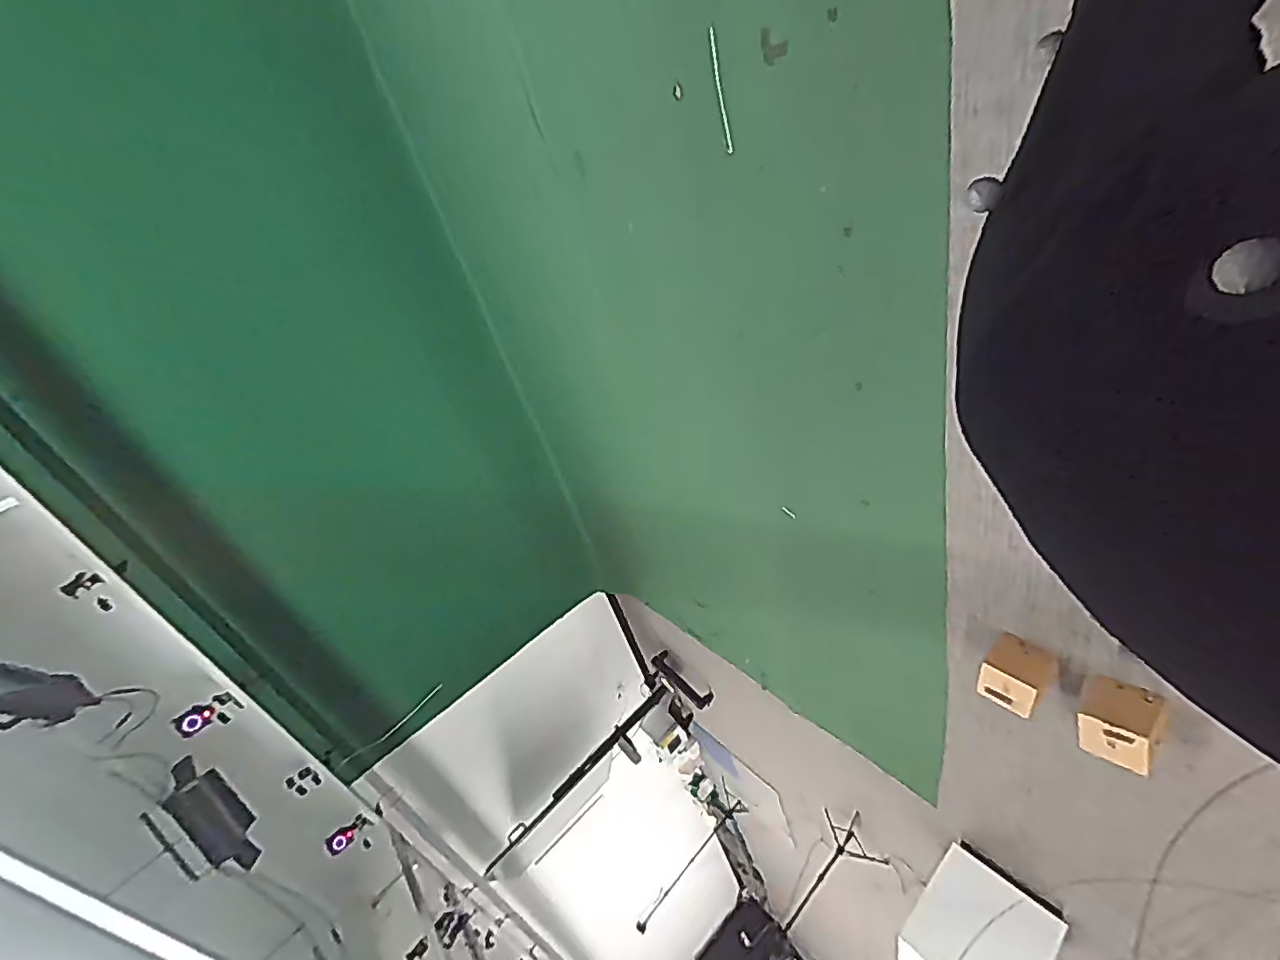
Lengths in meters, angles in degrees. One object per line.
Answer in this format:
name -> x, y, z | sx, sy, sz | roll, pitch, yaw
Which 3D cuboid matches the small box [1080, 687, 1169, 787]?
small box -> 1.462, 0.766, 1.632 | 0.168, 0.176, 0.179 | 14, 133, 55
